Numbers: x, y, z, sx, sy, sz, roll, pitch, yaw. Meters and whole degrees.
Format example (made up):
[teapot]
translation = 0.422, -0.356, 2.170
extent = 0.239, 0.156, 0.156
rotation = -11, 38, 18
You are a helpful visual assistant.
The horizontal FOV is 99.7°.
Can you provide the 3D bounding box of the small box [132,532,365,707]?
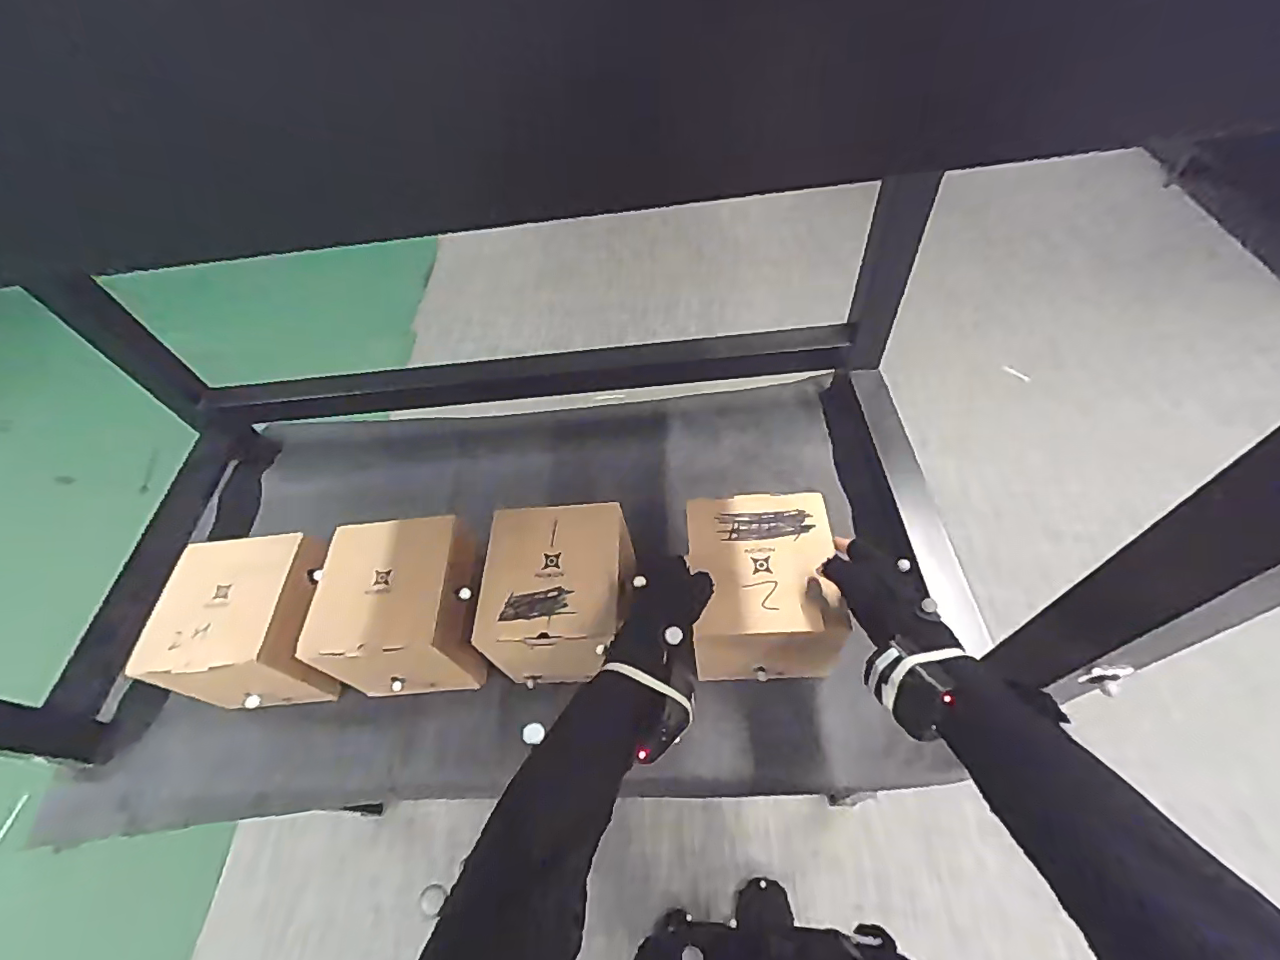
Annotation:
[small box]
translation = -0.507, 0.193, 0.737
extent = 0.168, 0.176, 0.179
rotation = -6, 54, 4
